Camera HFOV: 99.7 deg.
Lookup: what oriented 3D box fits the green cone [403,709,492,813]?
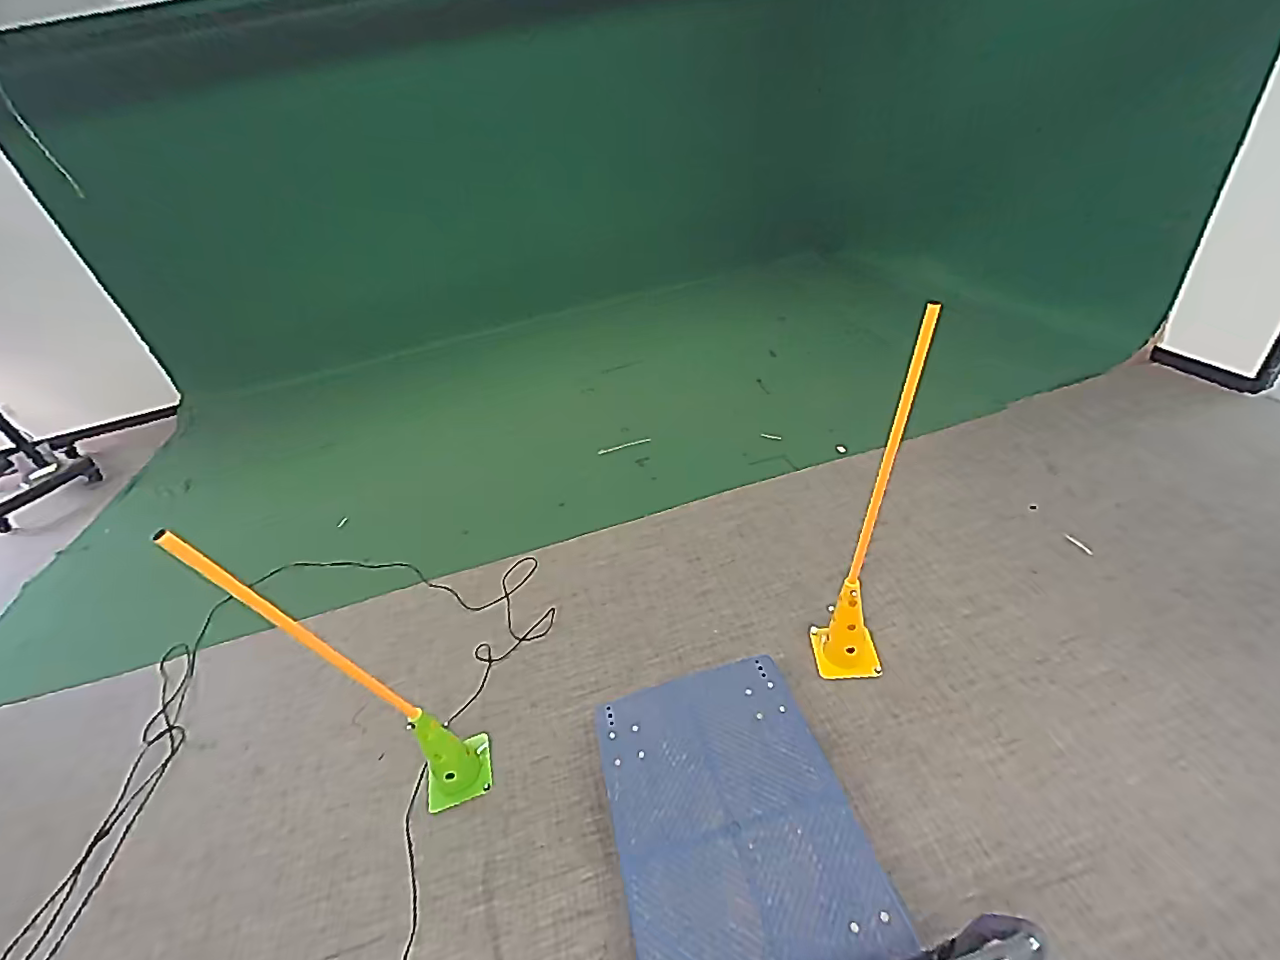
[{"bbox_3d":[-0.610,0.799,1.631,0.202,0.368,0.200,-20,37,-8],"label":"green cone"}]
